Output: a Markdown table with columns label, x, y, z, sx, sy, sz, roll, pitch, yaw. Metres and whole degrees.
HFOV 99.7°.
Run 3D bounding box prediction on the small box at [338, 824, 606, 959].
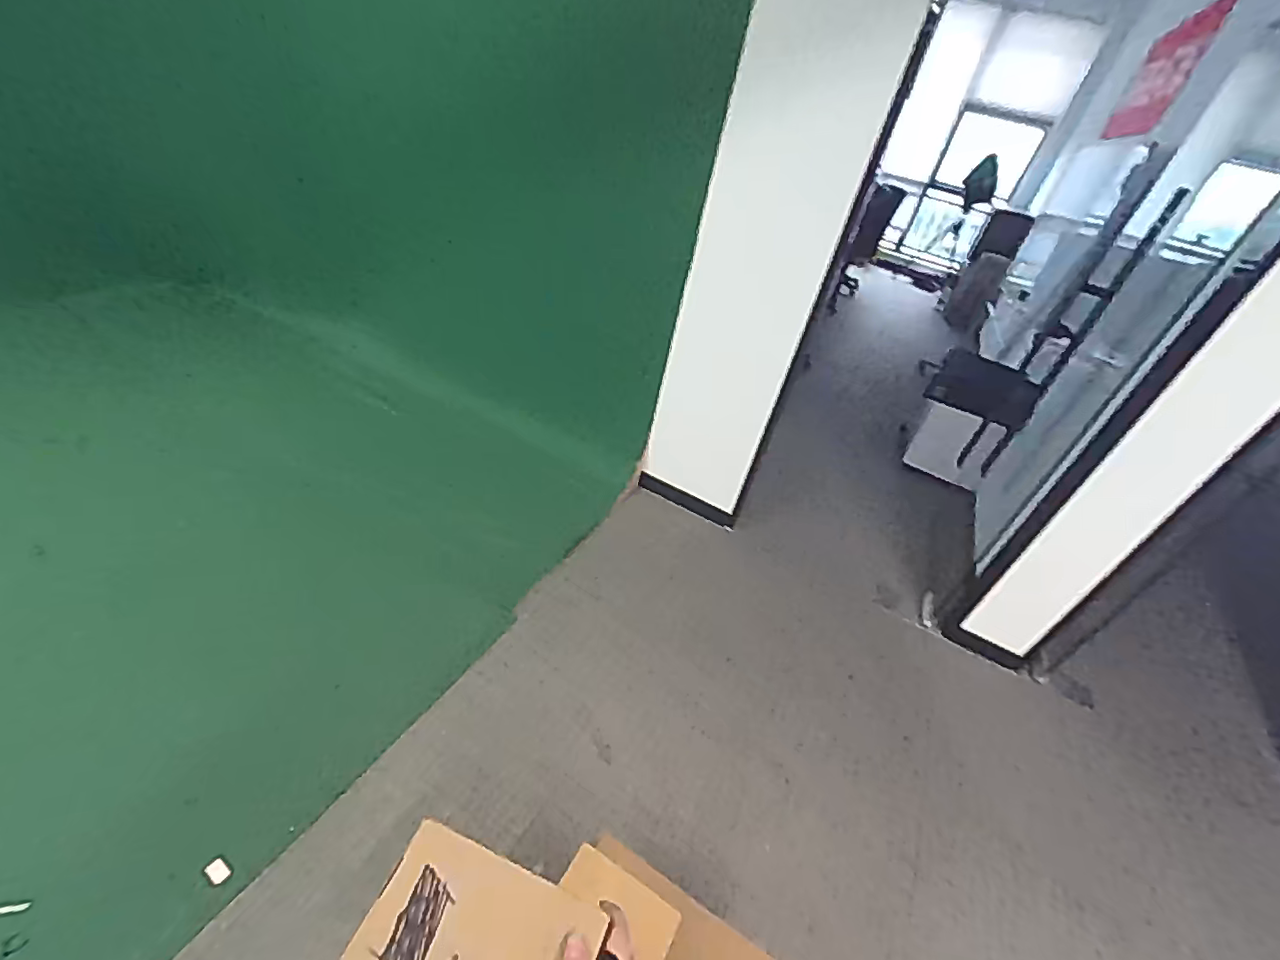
| label | x | y | z | sx | sy | sz | roll | pitch | yaw |
| --- | --- | --- | --- | --- | --- | --- | --- | --- | --- |
| small box | -0.139 | 0.422 | 0.440 | 0.179 | 0.176 | 0.168 | 18 | 48 | 13 |

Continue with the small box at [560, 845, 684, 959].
| label | x | y | z | sx | sy | sz | roll | pitch | yaw |
| --- | --- | --- | --- | --- | --- | --- | --- | --- | --- |
| small box | -0.065 | 0.665 | 0.746 | 0.168 | 0.176 | 0.179 | 27 | 37 | 18 |
